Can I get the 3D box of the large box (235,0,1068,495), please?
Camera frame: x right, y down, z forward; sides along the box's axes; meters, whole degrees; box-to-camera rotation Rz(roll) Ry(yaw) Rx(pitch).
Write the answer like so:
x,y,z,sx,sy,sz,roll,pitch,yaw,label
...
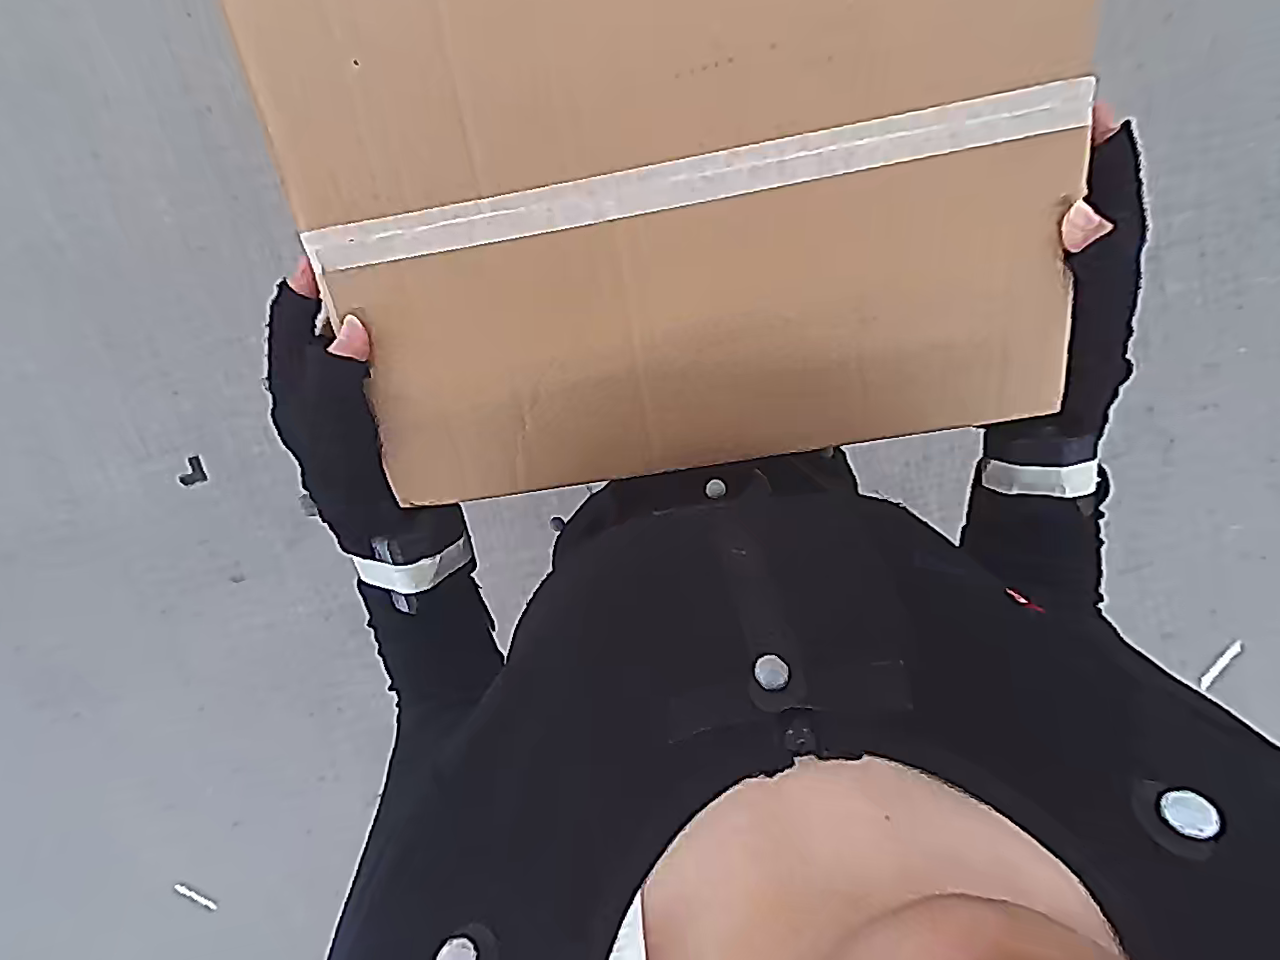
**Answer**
x,y,z,sx,sy,sz,roll,pitch,yaw,label
0.020,-0.215,0.428,0.408,0.320,0.320,-8,110,4,large box
